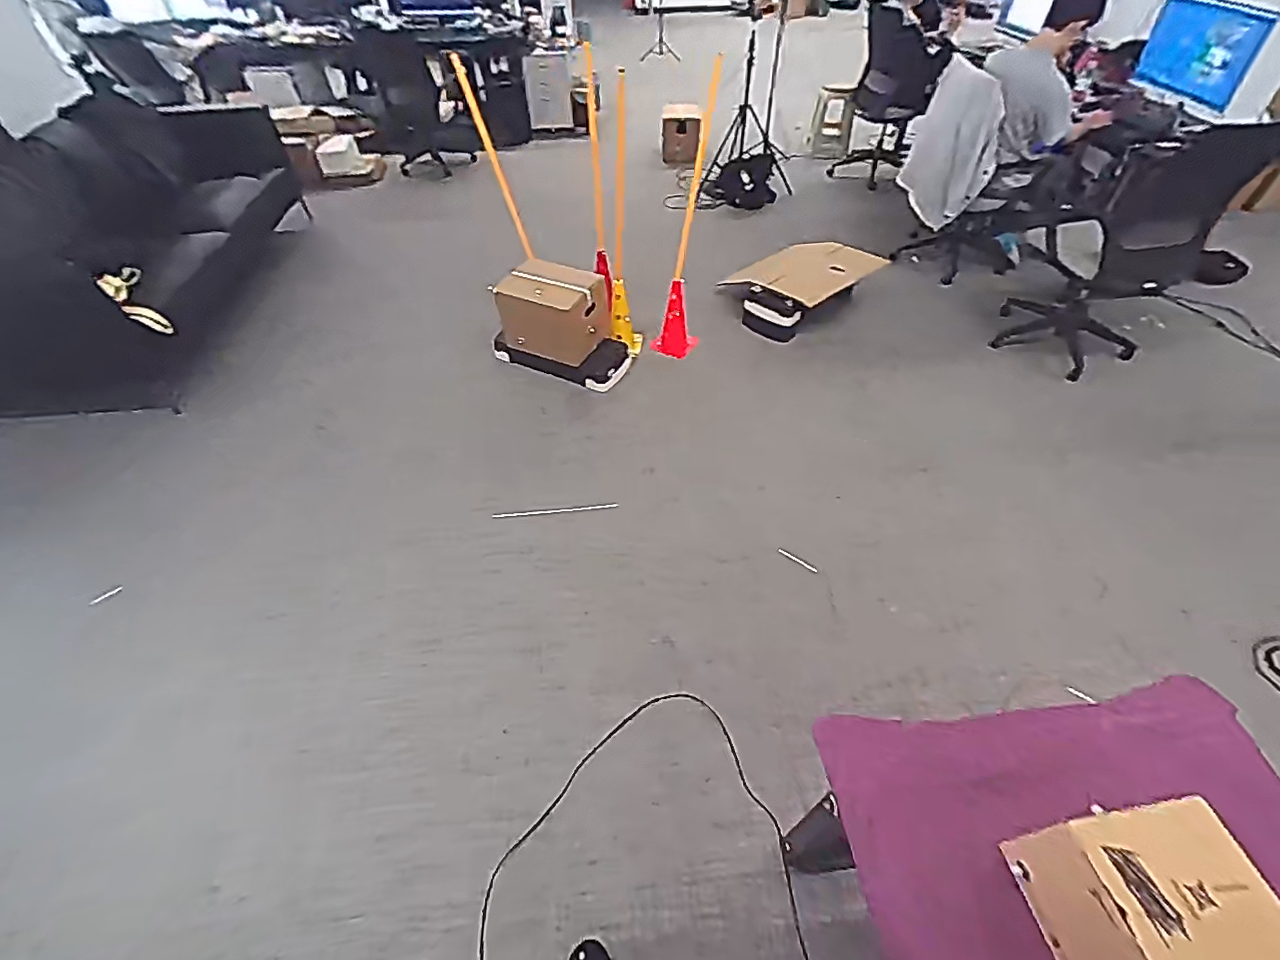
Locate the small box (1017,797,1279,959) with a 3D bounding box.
[{"bbox_3d":[0.587,0.494,0.631,0.179,0.176,0.168,-7,48,-5],"label":"small box"}]
